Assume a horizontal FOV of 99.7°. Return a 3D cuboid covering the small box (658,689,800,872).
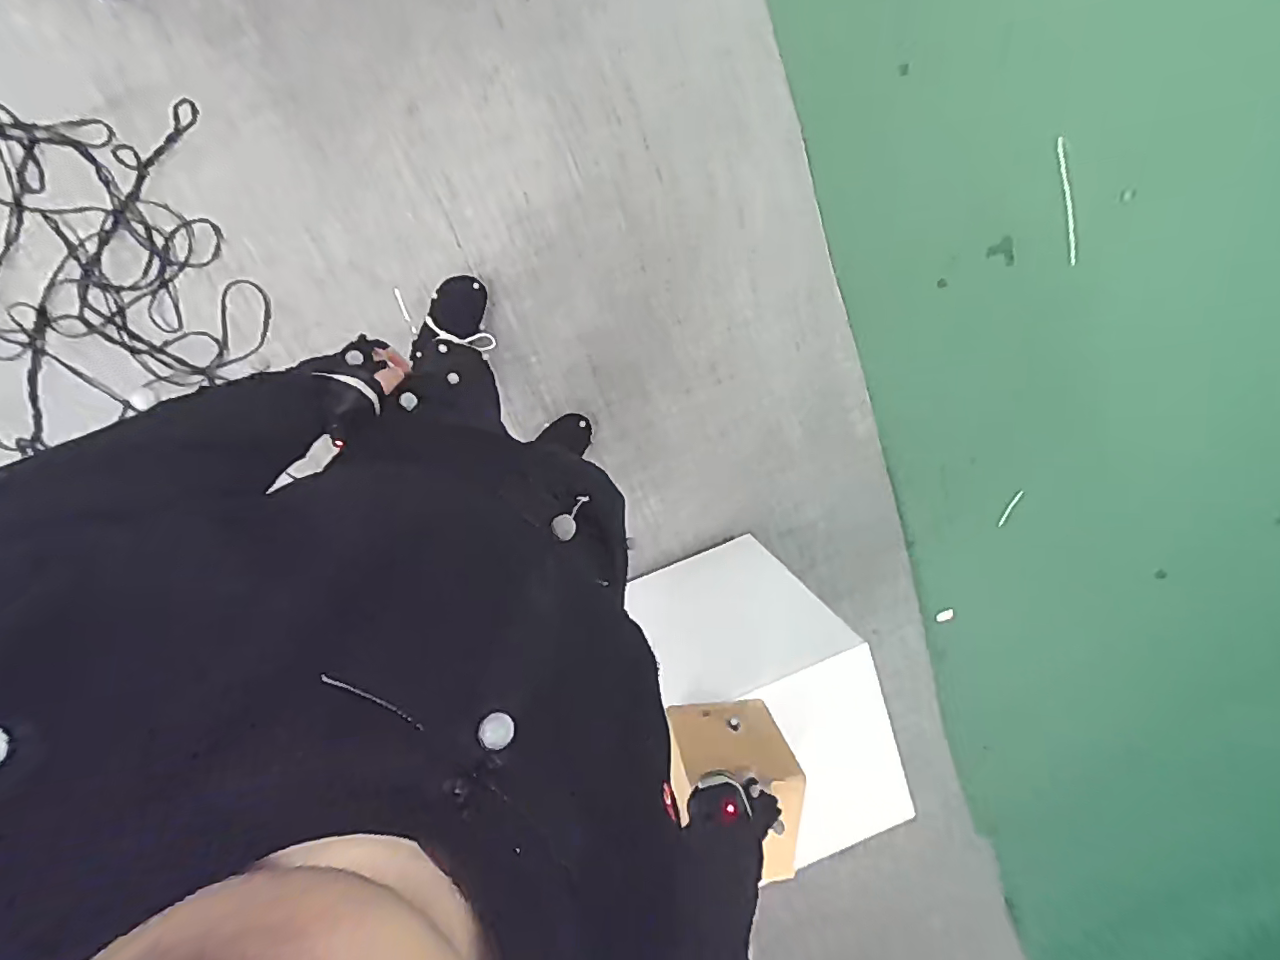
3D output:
[{"bbox_3d":[0.124,0.450,0.830,0.168,0.176,0.179,0,105,-10],"label":"small box"}]
